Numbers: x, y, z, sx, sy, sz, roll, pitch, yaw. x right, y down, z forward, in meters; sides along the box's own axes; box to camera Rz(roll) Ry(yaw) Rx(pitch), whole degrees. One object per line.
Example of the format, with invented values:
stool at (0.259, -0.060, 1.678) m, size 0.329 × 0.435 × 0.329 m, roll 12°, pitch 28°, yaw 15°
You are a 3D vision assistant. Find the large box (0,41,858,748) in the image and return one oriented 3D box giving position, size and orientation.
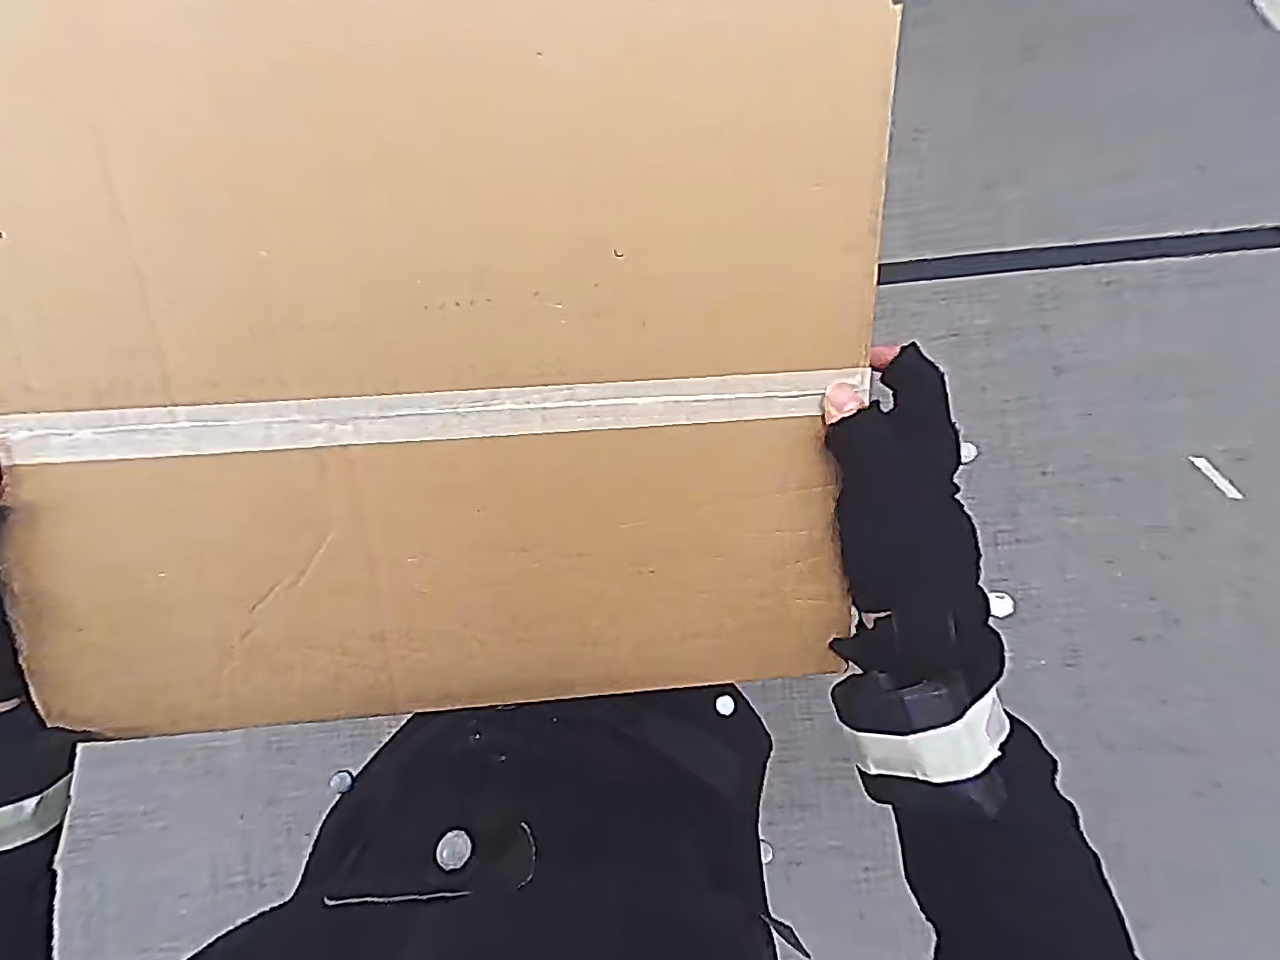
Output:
large box at (-0.110, -0.063, 0.395) m, size 0.408 × 0.320 × 0.320 m, roll -4°, pitch 107°, yaw -4°
